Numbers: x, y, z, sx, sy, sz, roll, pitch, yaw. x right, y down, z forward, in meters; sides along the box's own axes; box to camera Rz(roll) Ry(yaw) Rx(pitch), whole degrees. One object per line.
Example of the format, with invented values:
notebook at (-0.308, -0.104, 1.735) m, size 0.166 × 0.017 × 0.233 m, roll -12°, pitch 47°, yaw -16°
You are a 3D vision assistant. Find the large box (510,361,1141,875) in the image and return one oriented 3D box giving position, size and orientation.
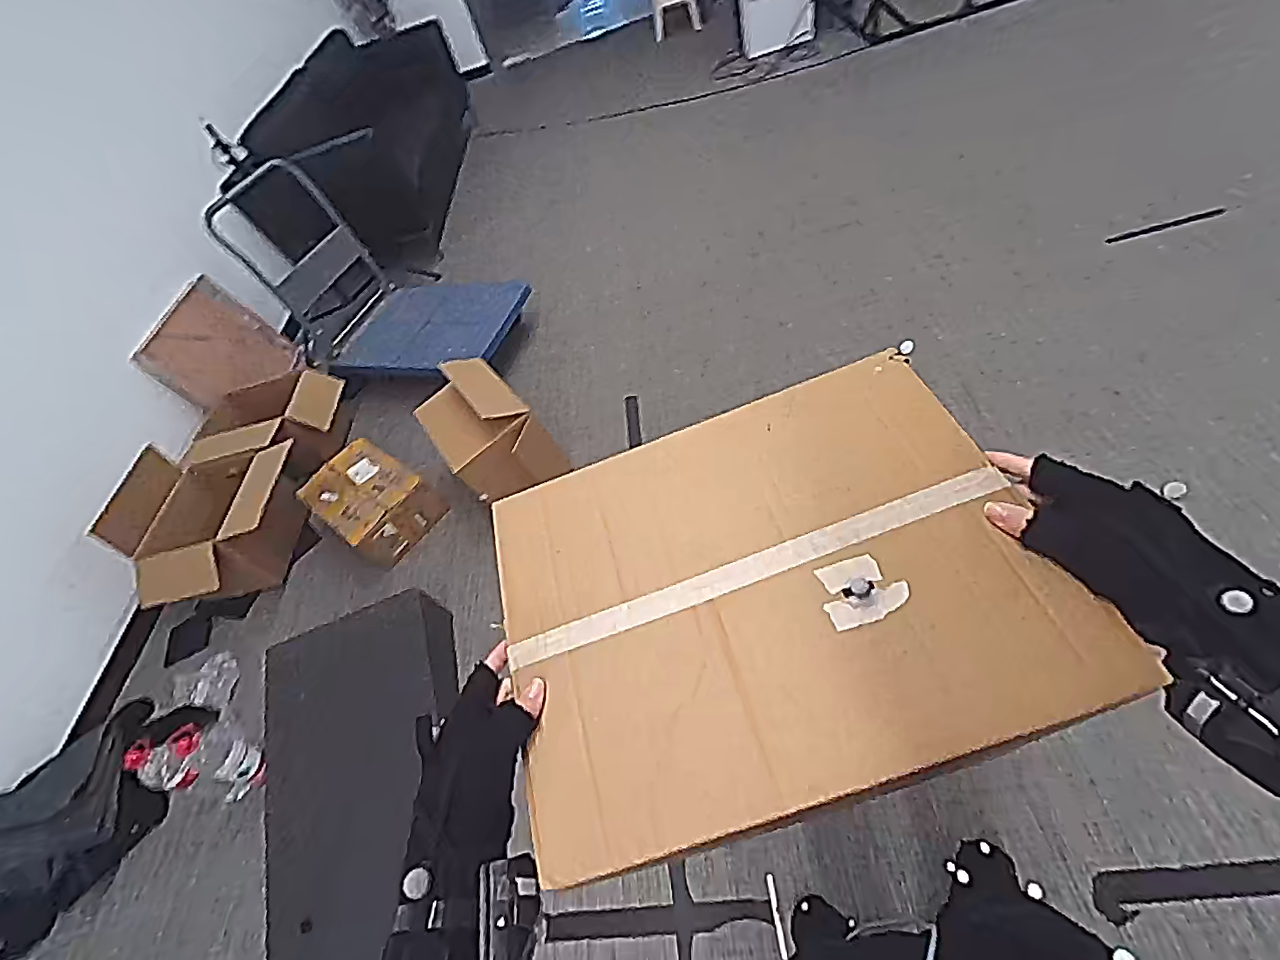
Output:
large box at (0.130, 0.153, 0.555) m, size 0.408 × 0.320 × 0.320 m, roll -21°, pitch 55°, yaw 3°
